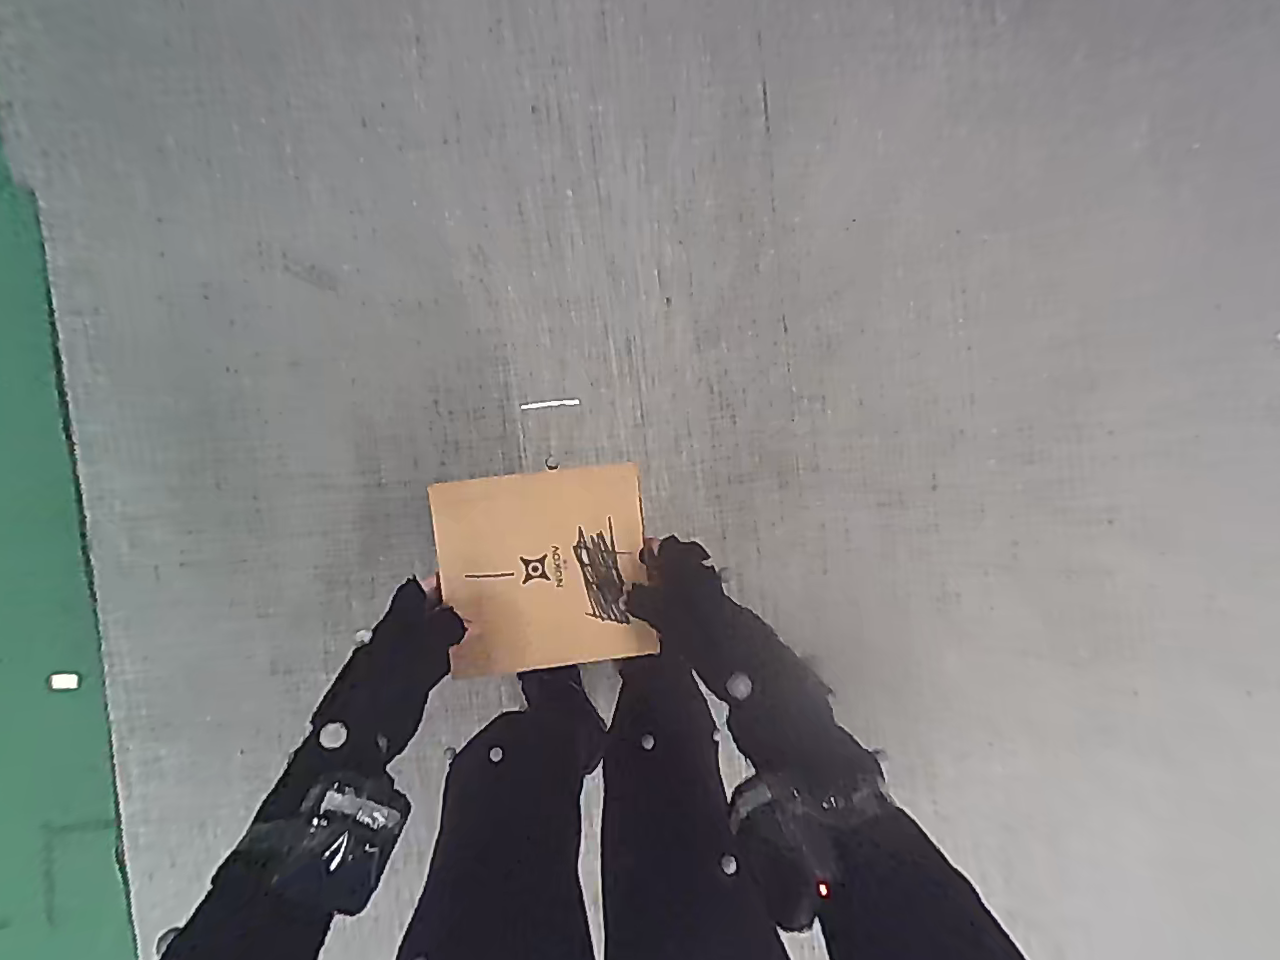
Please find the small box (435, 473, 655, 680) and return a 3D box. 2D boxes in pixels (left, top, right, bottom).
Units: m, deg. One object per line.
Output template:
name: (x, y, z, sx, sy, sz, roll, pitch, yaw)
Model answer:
small box: (-0.086, 0.081, 0.543, 0.179, 0.176, 0.168, -6, 90, -3)
